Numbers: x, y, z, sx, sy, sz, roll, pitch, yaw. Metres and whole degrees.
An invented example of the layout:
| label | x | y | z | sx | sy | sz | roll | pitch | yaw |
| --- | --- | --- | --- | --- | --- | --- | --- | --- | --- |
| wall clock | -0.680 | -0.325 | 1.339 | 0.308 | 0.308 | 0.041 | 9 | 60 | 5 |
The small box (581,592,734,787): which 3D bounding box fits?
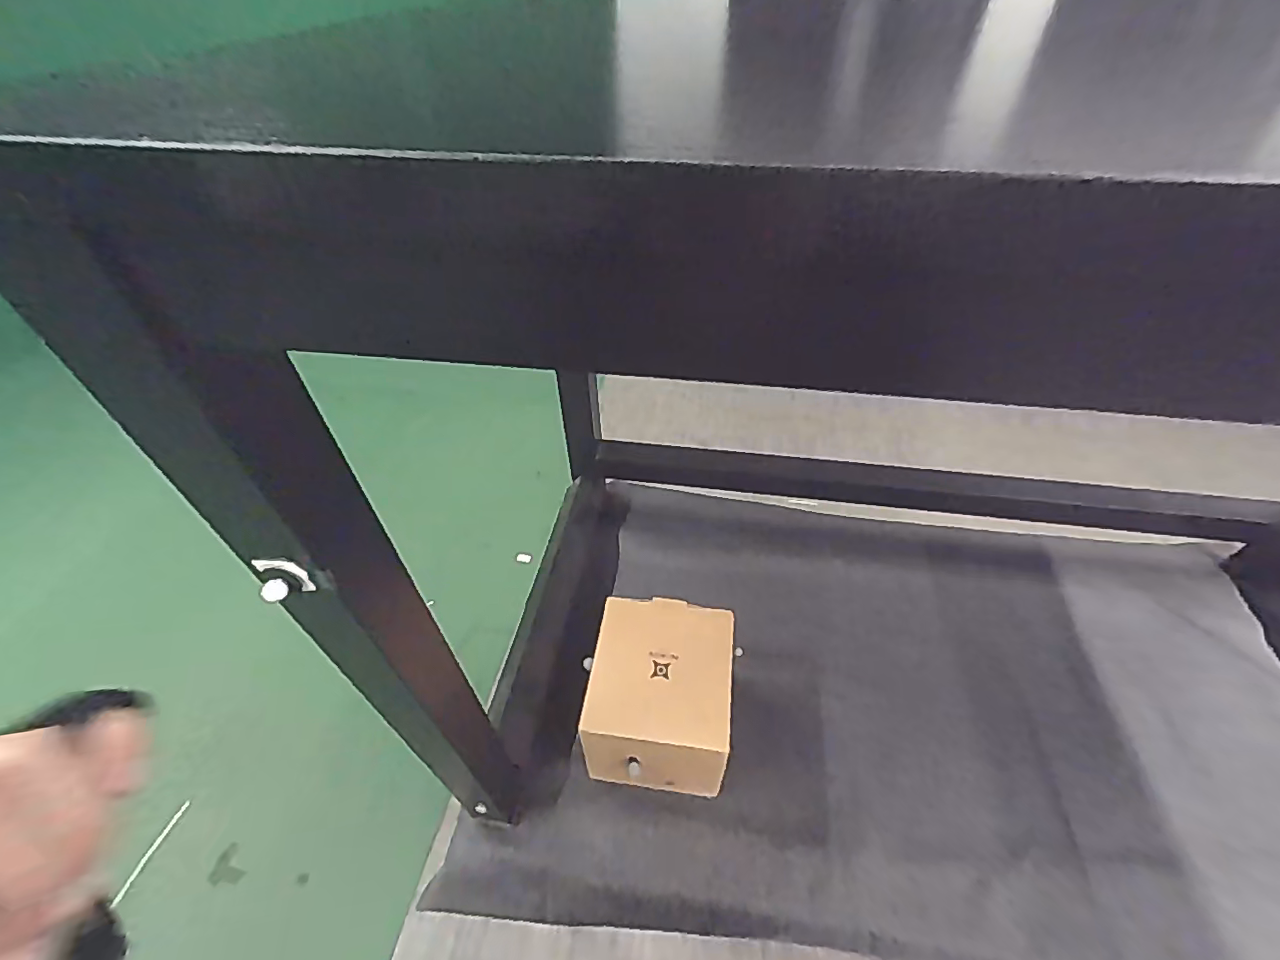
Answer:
| label | x | y | z | sx | sy | sz | roll | pitch | yaw |
| --- | --- | --- | --- | --- | --- | --- | --- | --- | --- |
| small box | 0.030 | 0.269 | 0.691 | 0.168 | 0.176 | 0.179 | 5 | 44 | 7 |
